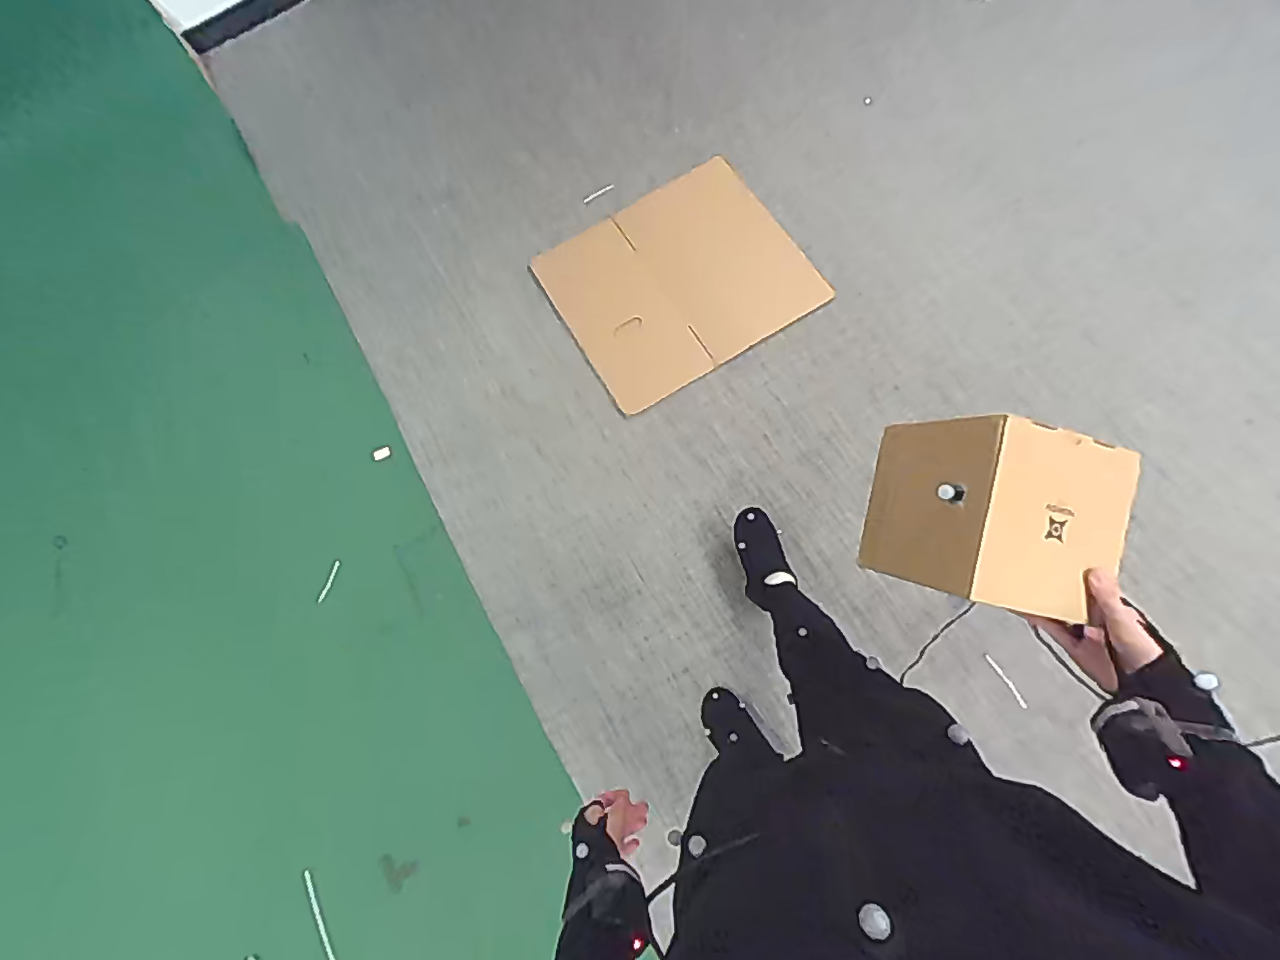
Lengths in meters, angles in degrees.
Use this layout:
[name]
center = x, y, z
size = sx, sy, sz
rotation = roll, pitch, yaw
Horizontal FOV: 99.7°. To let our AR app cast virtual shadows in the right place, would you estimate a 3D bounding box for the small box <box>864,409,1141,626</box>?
[small box]
center = 0.370, 0.037, 0.581
size = 0.168, 0.176, 0.179
rotation = 13, 87, -13
